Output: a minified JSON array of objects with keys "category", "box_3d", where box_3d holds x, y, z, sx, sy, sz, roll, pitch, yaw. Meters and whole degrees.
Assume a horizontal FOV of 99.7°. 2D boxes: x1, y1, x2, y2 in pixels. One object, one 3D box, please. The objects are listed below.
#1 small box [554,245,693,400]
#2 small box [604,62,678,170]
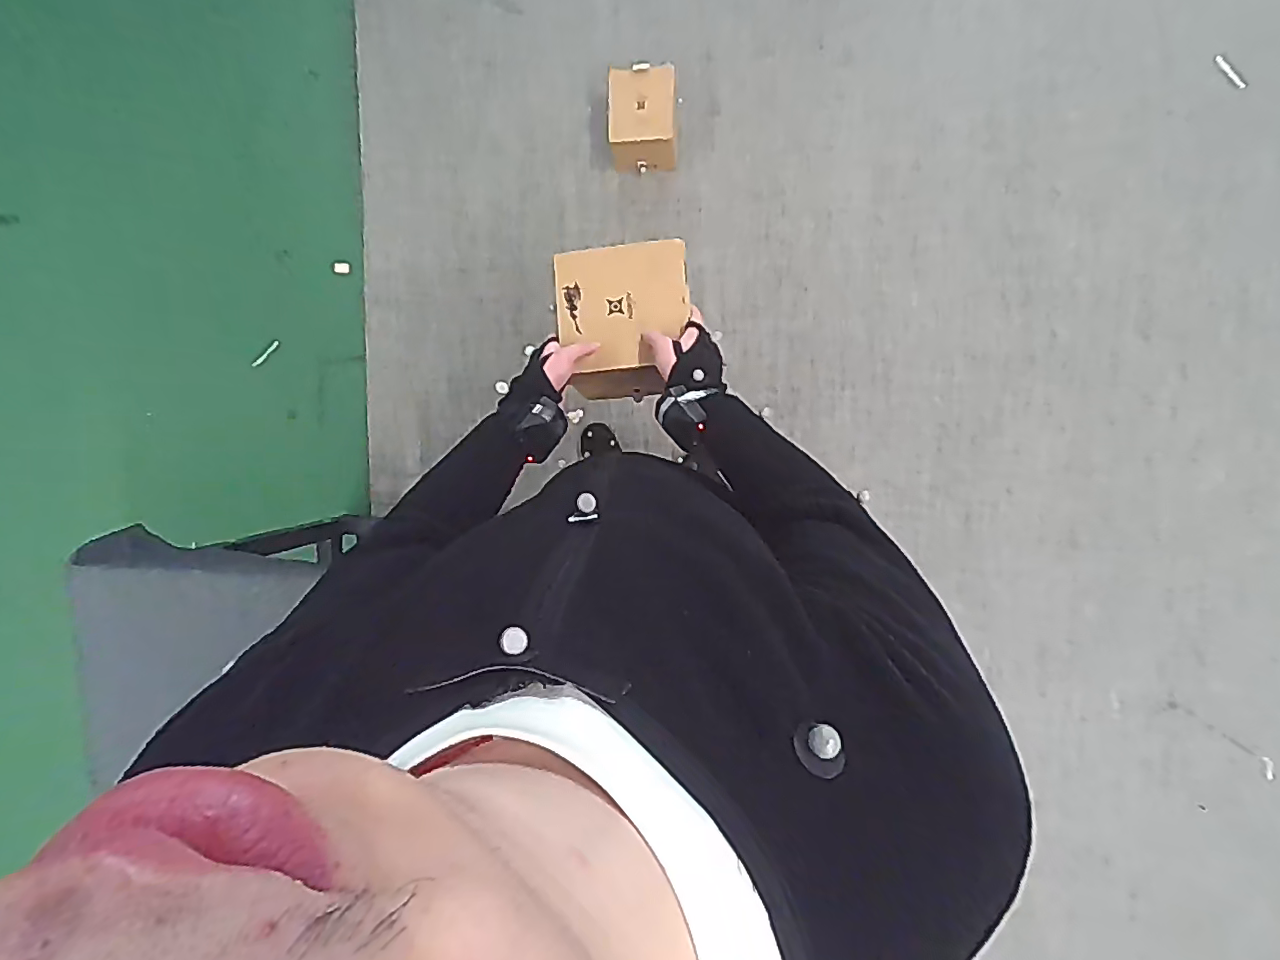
[{"category":"small box","box_3d":[-0.018,-0.217,0.786,0.179,0.176,0.168,-4,86,4]},{"category":"small box","box_3d":[0.007,-0.938,1.404,0.168,0.176,0.179,4,95,9]}]
